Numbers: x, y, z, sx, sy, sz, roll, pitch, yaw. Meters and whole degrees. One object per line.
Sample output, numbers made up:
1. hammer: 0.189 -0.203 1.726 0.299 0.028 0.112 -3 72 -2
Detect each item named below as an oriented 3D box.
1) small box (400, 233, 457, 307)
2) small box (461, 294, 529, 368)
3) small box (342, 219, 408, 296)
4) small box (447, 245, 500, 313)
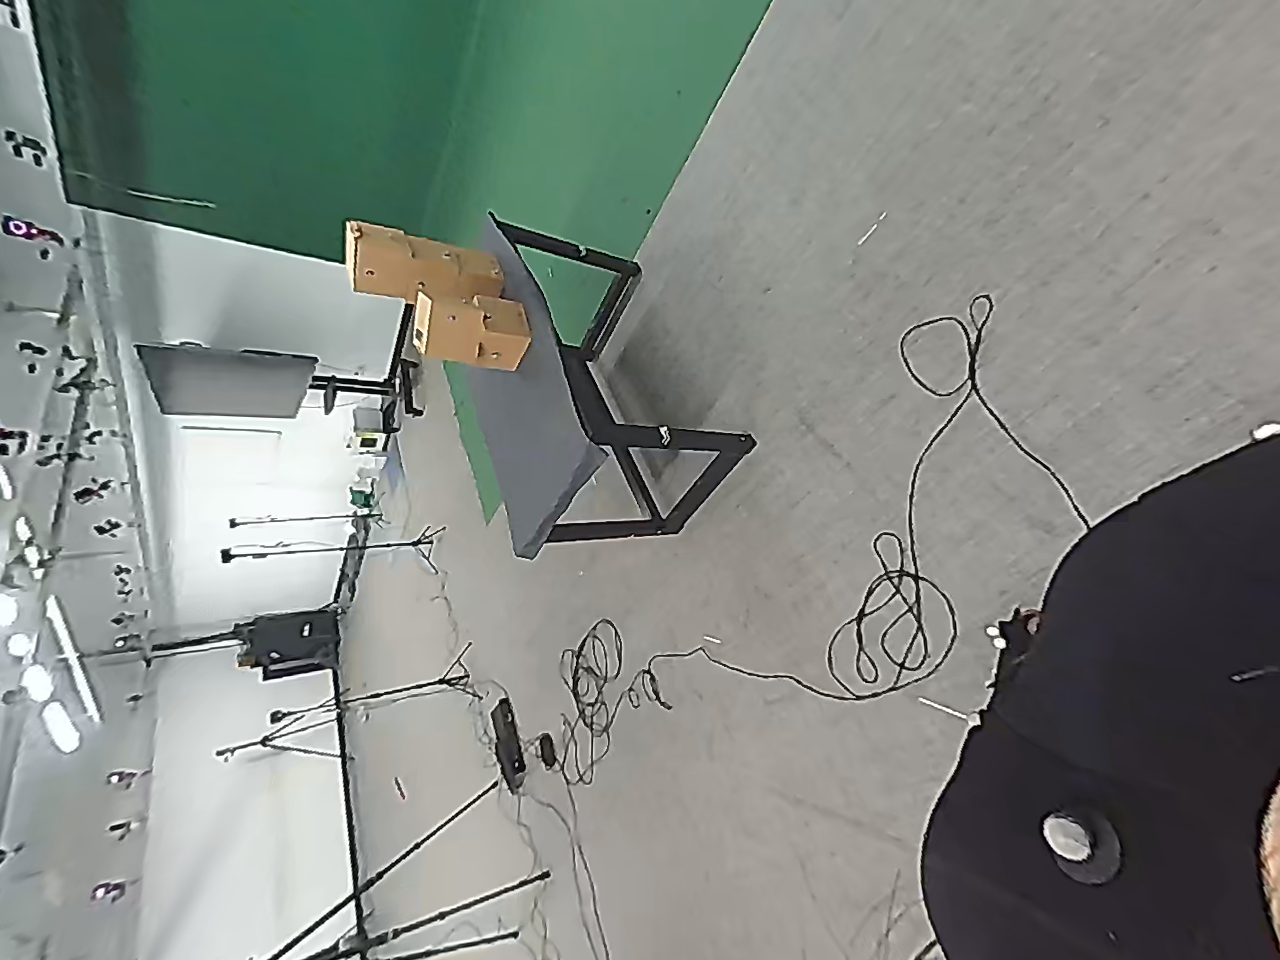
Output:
1. small box: -0.765 -0.741 1.928 0.168 0.176 0.179 59 134 32
2. small box: -0.498 -0.502 1.852 0.179 0.176 0.168 -46 56 44
3. small box: -0.894 -0.743 1.824 0.168 0.176 0.179 56 133 33
4. small box: -0.637 -0.743 2.028 0.179 0.176 0.168 -56 50 40
